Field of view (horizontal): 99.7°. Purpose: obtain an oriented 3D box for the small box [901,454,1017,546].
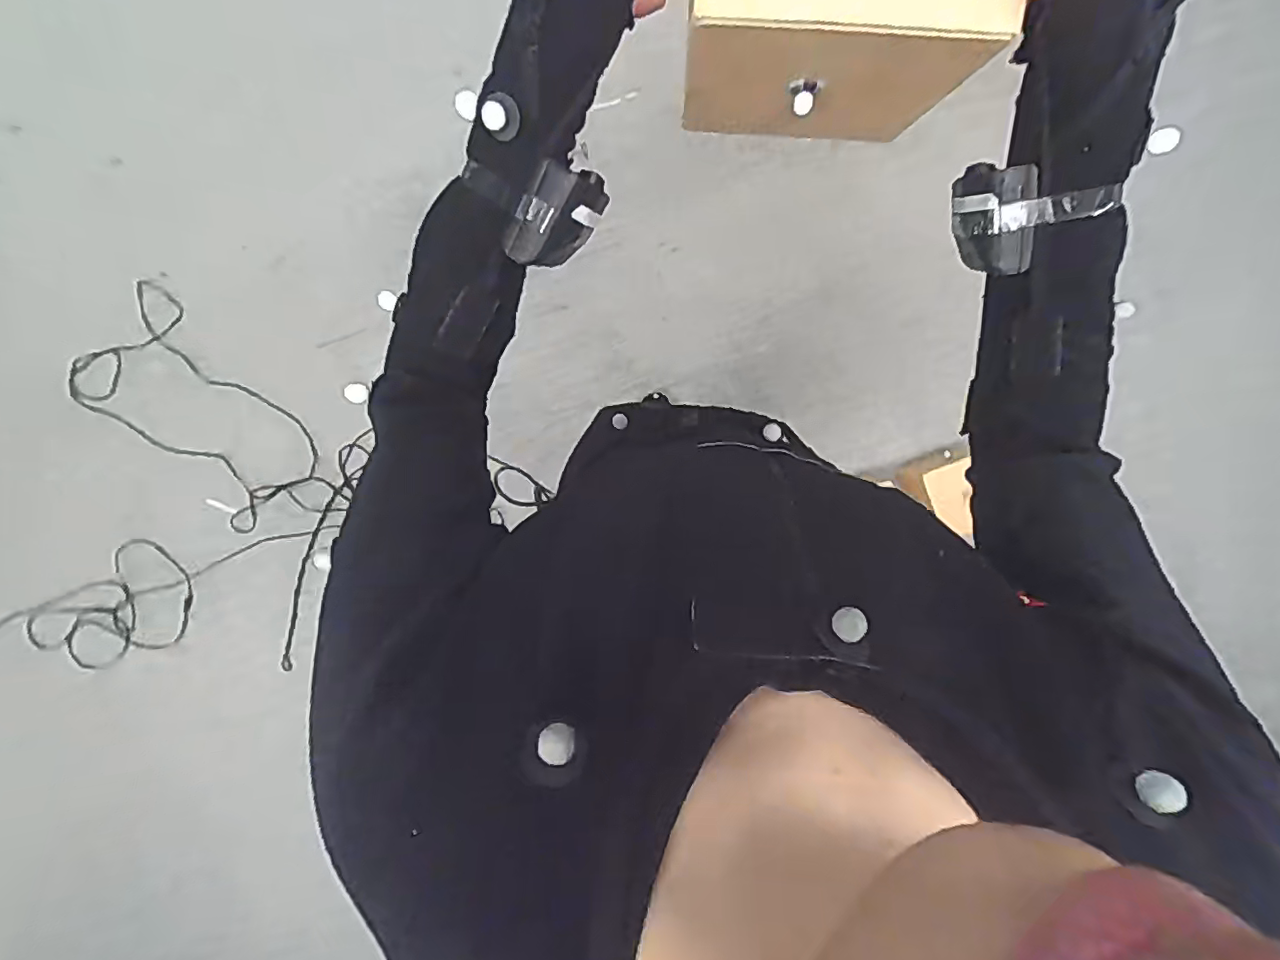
[{"bbox_3d":[0.782,0.042,1.346,0.168,0.176,0.179,-22,94,5],"label":"small box"}]
